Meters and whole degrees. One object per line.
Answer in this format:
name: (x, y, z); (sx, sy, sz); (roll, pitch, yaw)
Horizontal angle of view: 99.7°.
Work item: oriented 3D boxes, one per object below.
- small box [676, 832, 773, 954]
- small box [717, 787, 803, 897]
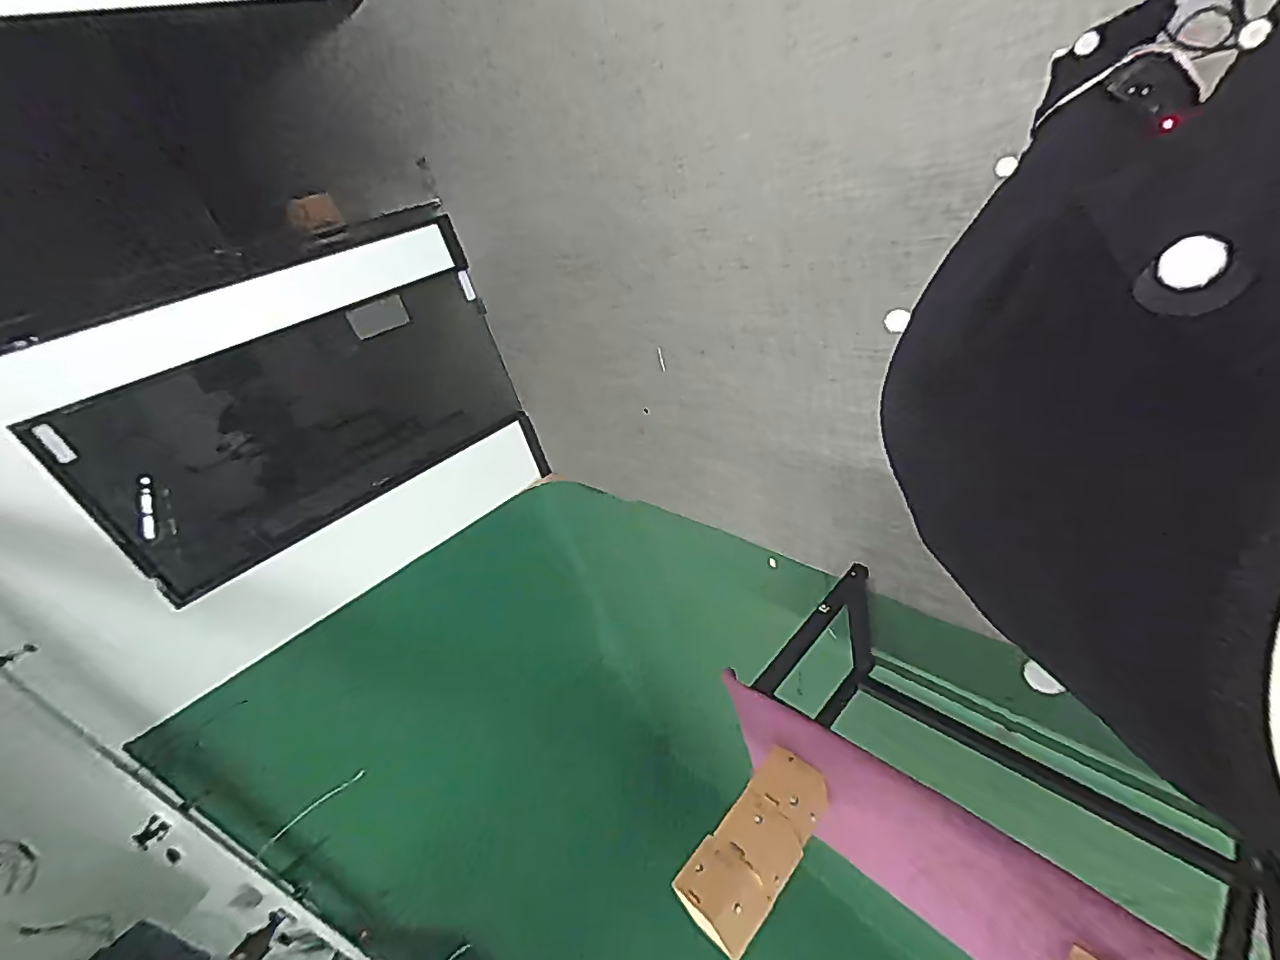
small box: (0.236, 1.131, 1.496); (0.168, 0.176, 0.179); (3, 124, 55)
small box: (0.353, 1.046, 1.571); (0.168, 0.176, 0.179); (15, 133, 47)
